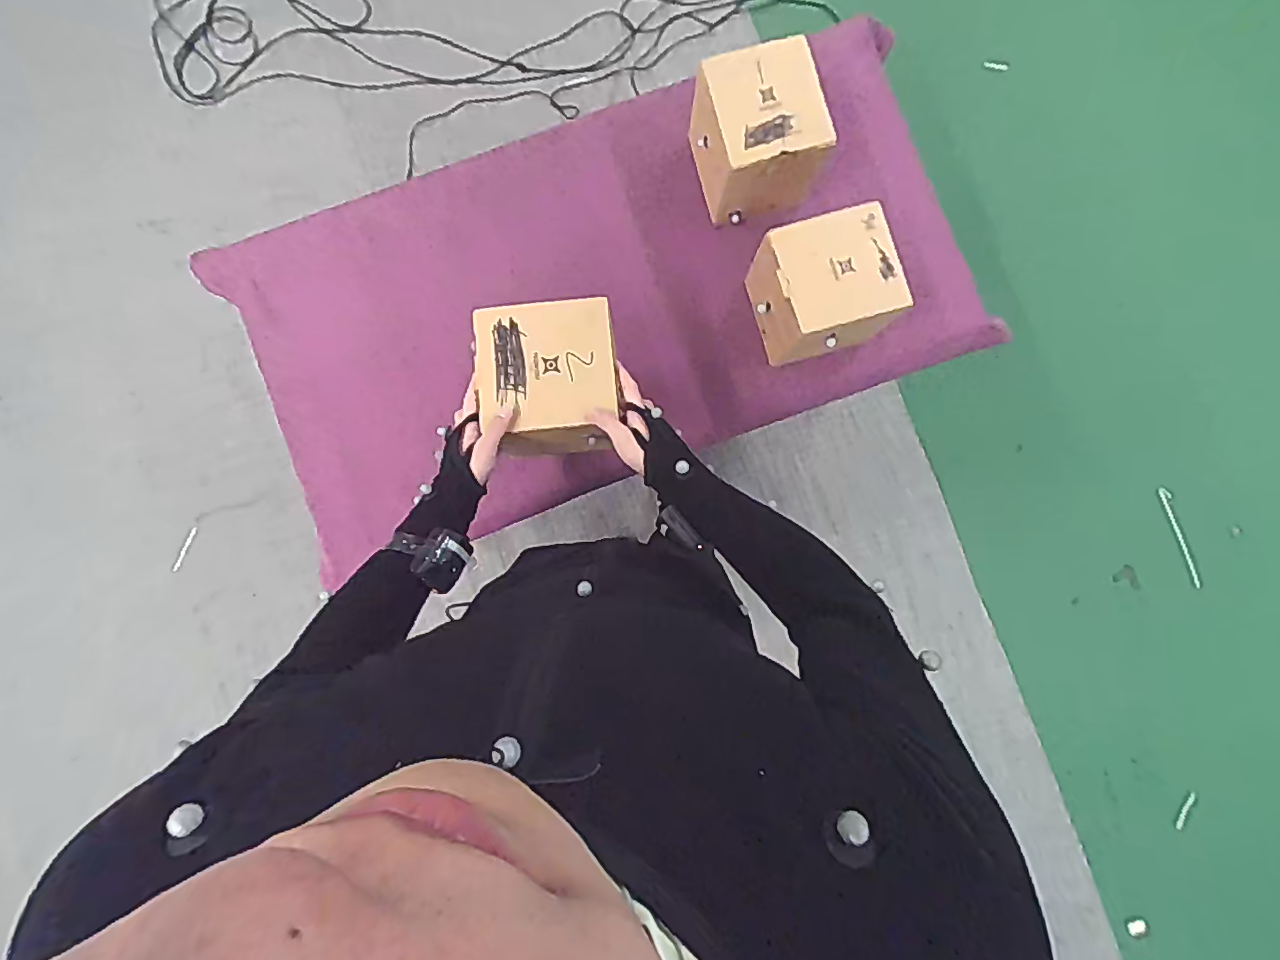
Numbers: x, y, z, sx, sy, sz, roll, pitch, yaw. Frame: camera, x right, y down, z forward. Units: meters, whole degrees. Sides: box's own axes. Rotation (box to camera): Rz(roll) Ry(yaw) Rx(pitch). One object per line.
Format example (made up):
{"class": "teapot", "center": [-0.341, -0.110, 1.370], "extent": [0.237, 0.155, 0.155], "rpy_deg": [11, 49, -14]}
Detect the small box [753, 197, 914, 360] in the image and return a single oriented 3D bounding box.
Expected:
{"class": "small box", "center": [0.289, -0.305, 0.857], "extent": [0.179, 0.176, 0.168], "rpy_deg": [-16, 86, -1]}

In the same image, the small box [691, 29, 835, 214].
{"class": "small box", "center": [0.187, -0.557, 0.870], "extent": [0.168, 0.176, 0.179], "rpy_deg": [-15, 87, -2]}
